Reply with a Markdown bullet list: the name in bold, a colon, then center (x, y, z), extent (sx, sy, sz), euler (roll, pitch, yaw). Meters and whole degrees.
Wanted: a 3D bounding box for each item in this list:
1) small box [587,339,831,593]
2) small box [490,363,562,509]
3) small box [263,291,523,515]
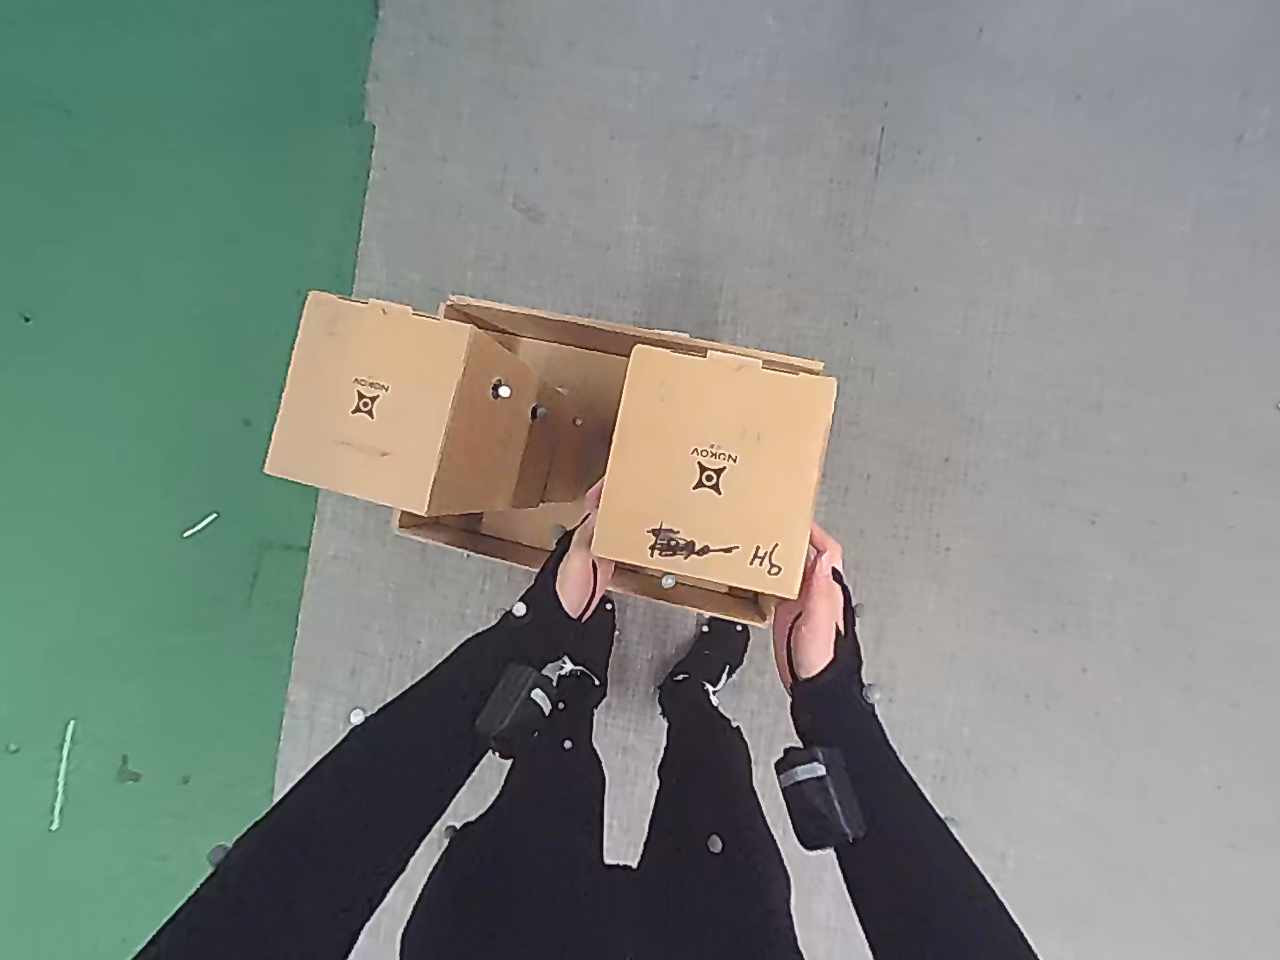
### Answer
- **small box**: center (0.060, -0.008, 0.501), extent (0.168, 0.176, 0.179), euler (11, 87, 7)
- **small box**: center (-0.216, -0.067, 0.727), extent (0.168, 0.176, 0.179), euler (14, 91, 8)
- **small box**: center (-0.237, -0.069, 0.565), extent (0.168, 0.176, 0.179), euler (14, 90, 9)
